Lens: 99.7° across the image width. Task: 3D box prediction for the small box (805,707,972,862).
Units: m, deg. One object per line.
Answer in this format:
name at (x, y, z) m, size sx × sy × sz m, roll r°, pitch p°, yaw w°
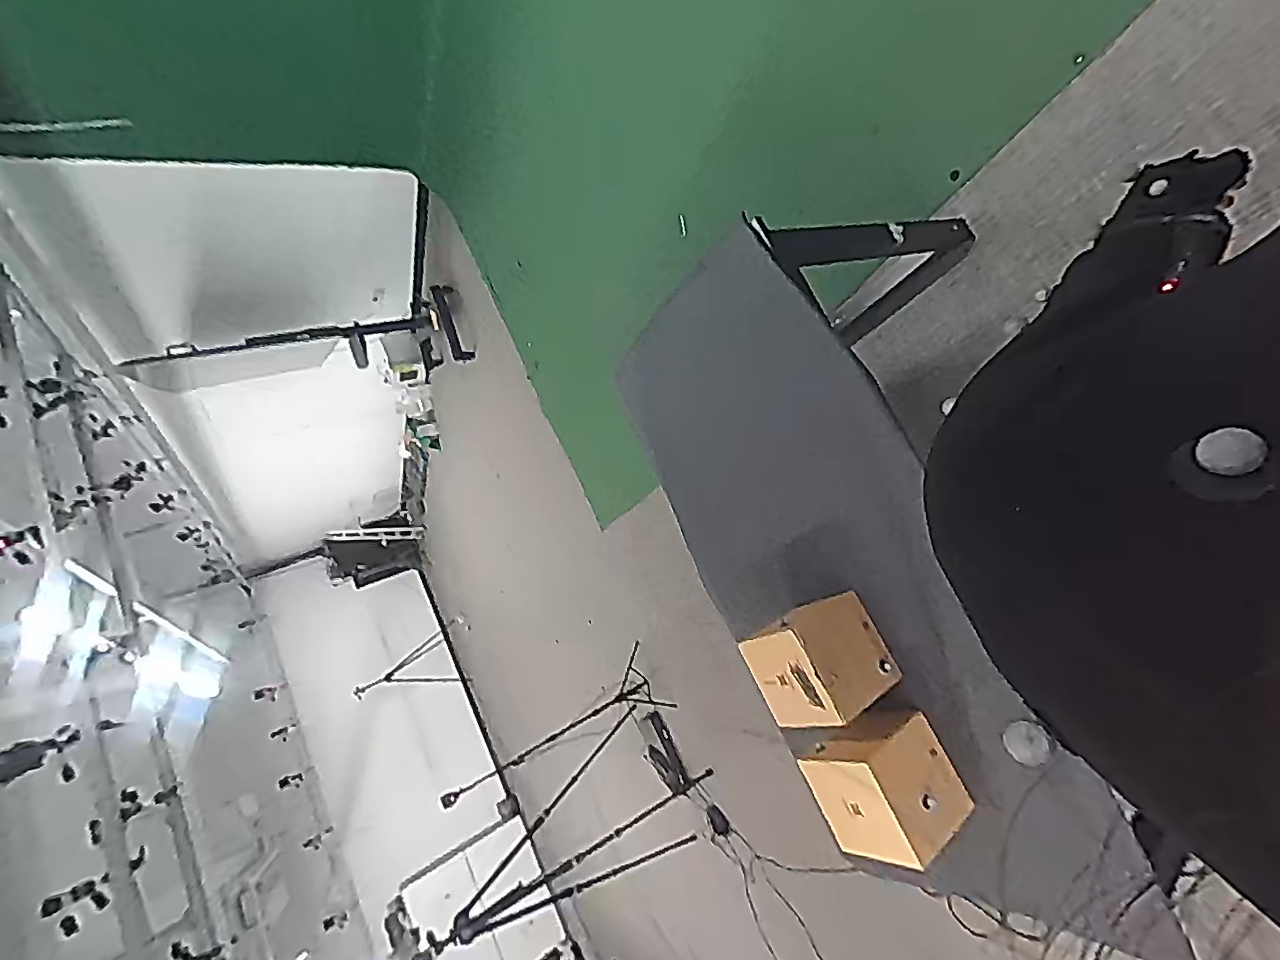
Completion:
small box at (0.433, 0.512, 0.935) m, size 0.168 × 0.176 × 0.179 m, roll 63°, pitch 149°, yaw 13°
